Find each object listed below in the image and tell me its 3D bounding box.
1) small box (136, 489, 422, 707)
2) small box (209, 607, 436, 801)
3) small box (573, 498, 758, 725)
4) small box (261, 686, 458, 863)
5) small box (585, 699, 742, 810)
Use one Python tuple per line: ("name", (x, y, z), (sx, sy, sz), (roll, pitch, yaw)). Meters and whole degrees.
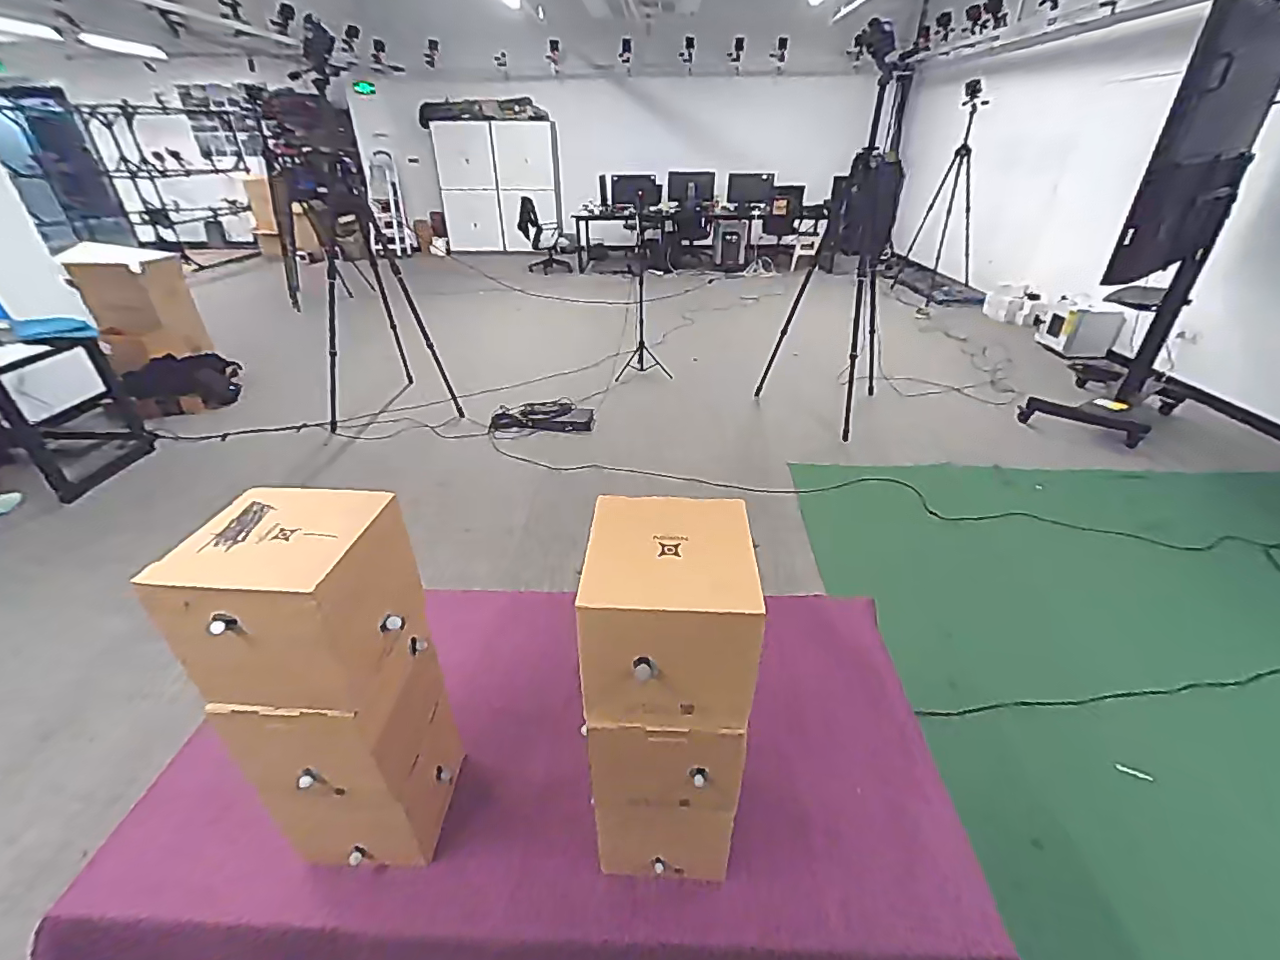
("small box", (-0.367, 0.126, 0.592), (0.179, 0.176, 0.168), (3, 32, 3))
("small box", (-0.372, 0.266, 0.678), (0.168, 0.176, 0.179), (1, 32, 2))
("small box", (0.027, 0.137, 0.579), (0.168, 0.176, 0.179), (2, 32, 2))
("small box", (-0.373, 0.409, 0.761), (0.179, 0.176, 0.168), (1, 31, 0))
("small box", (0.029, 0.275, 0.664), (0.168, 0.176, 0.179), (1, 32, 2))
